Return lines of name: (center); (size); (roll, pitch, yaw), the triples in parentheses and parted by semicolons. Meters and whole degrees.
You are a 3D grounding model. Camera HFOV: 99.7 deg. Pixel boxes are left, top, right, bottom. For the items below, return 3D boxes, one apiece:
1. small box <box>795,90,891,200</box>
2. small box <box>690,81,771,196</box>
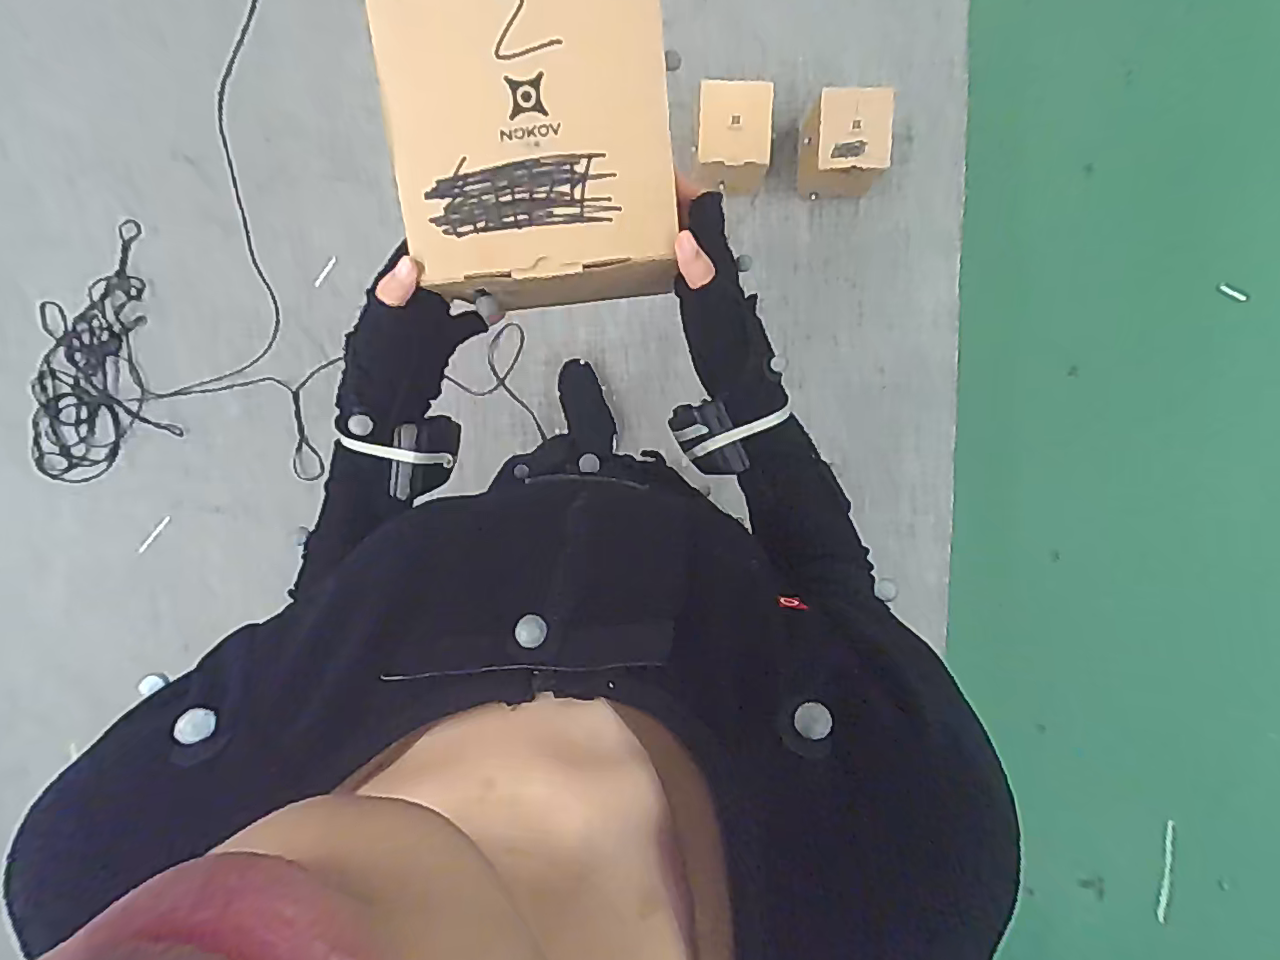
small box: (0.479, -0.795, 1.299); (0.168, 0.176, 0.179); (1, 96, 0)
small box: (0.211, -0.813, 1.299); (0.168, 0.176, 0.179); (2, 97, 0)
